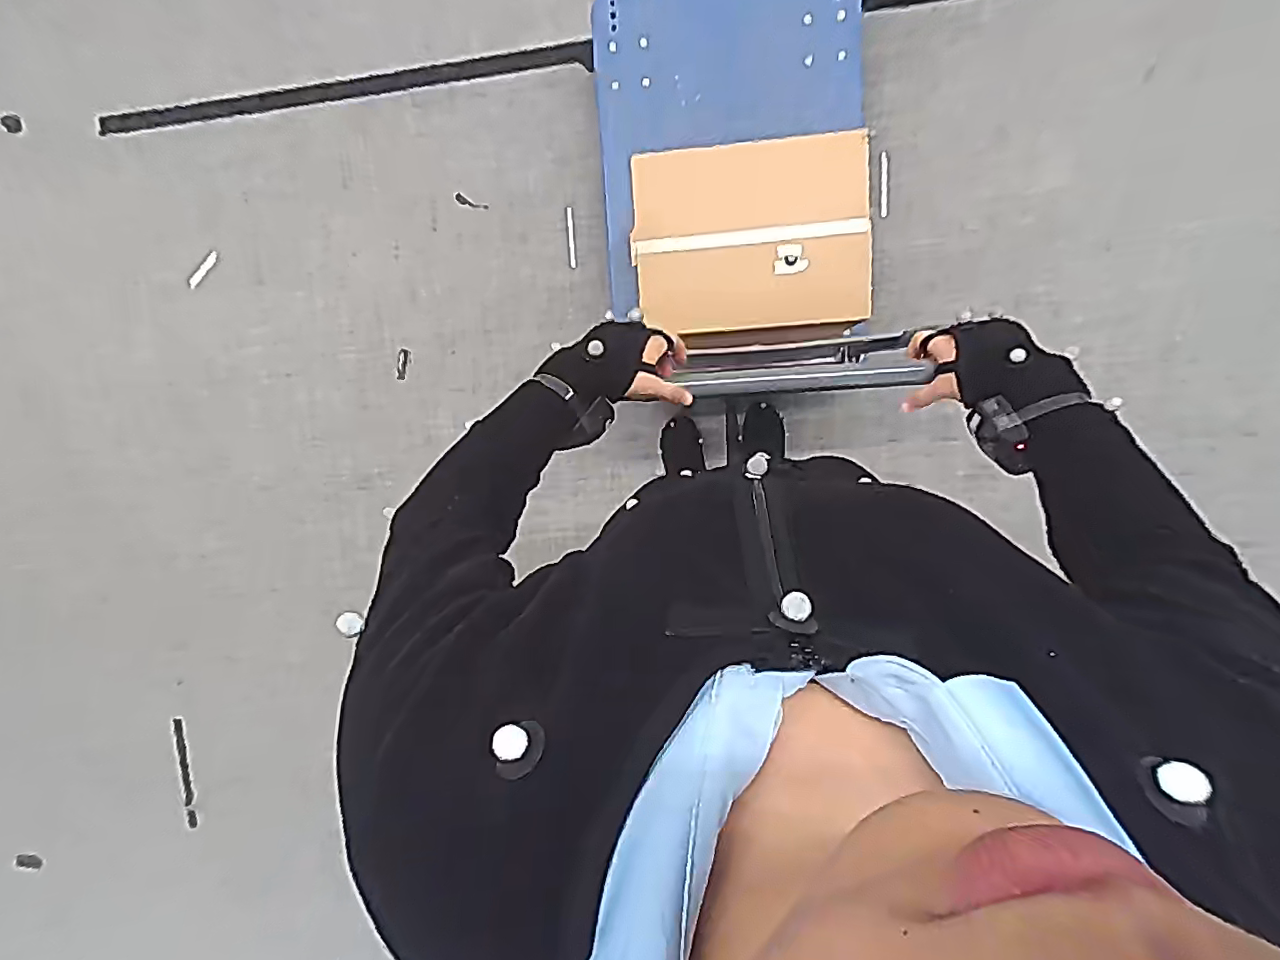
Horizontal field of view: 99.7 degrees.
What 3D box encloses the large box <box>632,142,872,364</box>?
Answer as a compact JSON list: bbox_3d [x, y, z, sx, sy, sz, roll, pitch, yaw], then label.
[{"bbox_3d":[0.205,-0.418,1.083,0.408,0.320,0.320,-3,98,5],"label":"large box"}]
